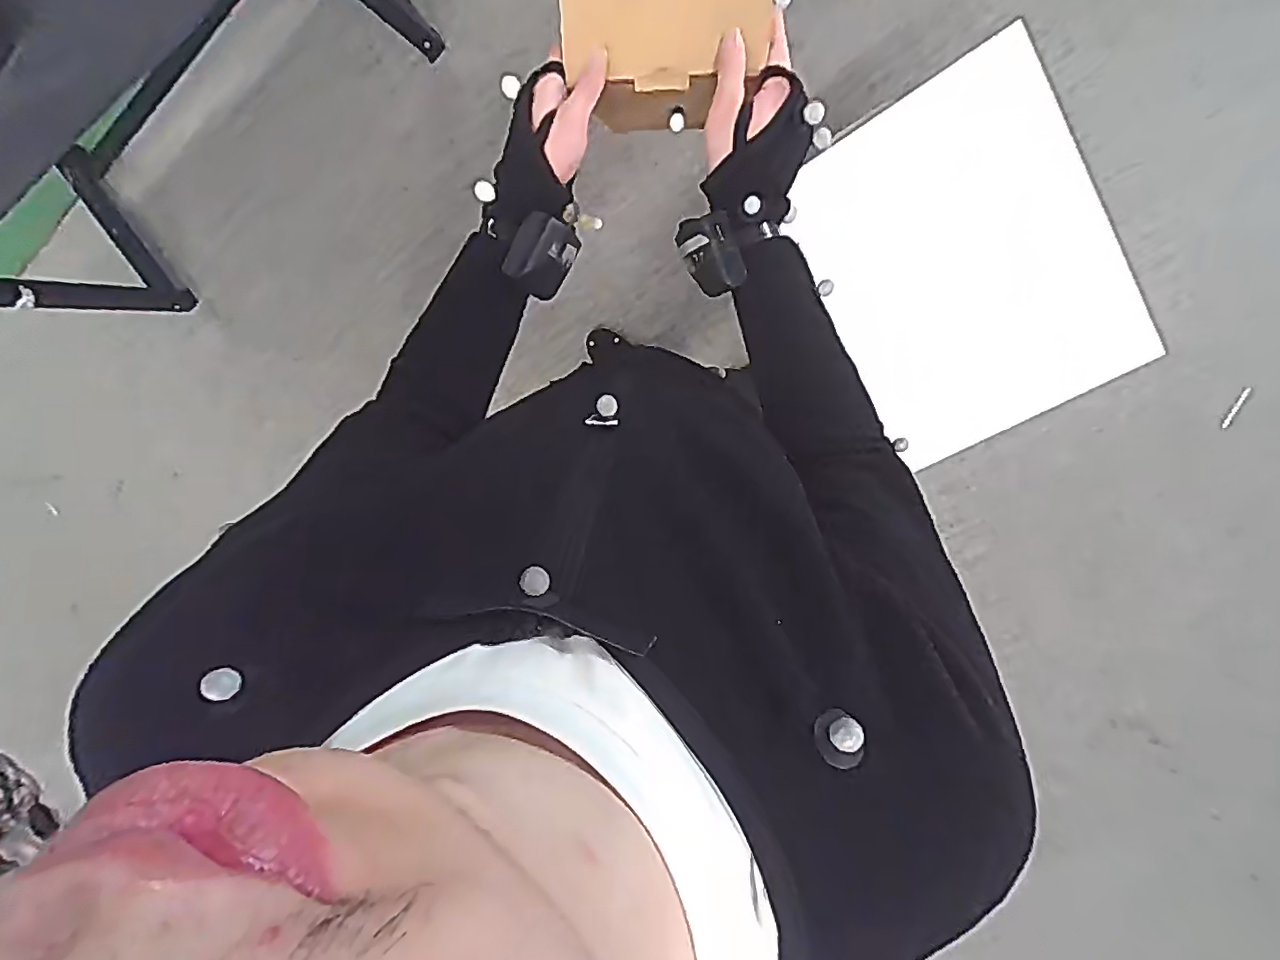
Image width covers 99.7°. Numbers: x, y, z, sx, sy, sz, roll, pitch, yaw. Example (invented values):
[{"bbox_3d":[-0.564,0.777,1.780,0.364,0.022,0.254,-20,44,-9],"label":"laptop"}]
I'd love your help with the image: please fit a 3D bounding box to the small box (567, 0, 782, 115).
[{"bbox_3d":[0.039,-0.437,0.470,0.168,0.176,0.179,3,112,12],"label":"small box"}]
